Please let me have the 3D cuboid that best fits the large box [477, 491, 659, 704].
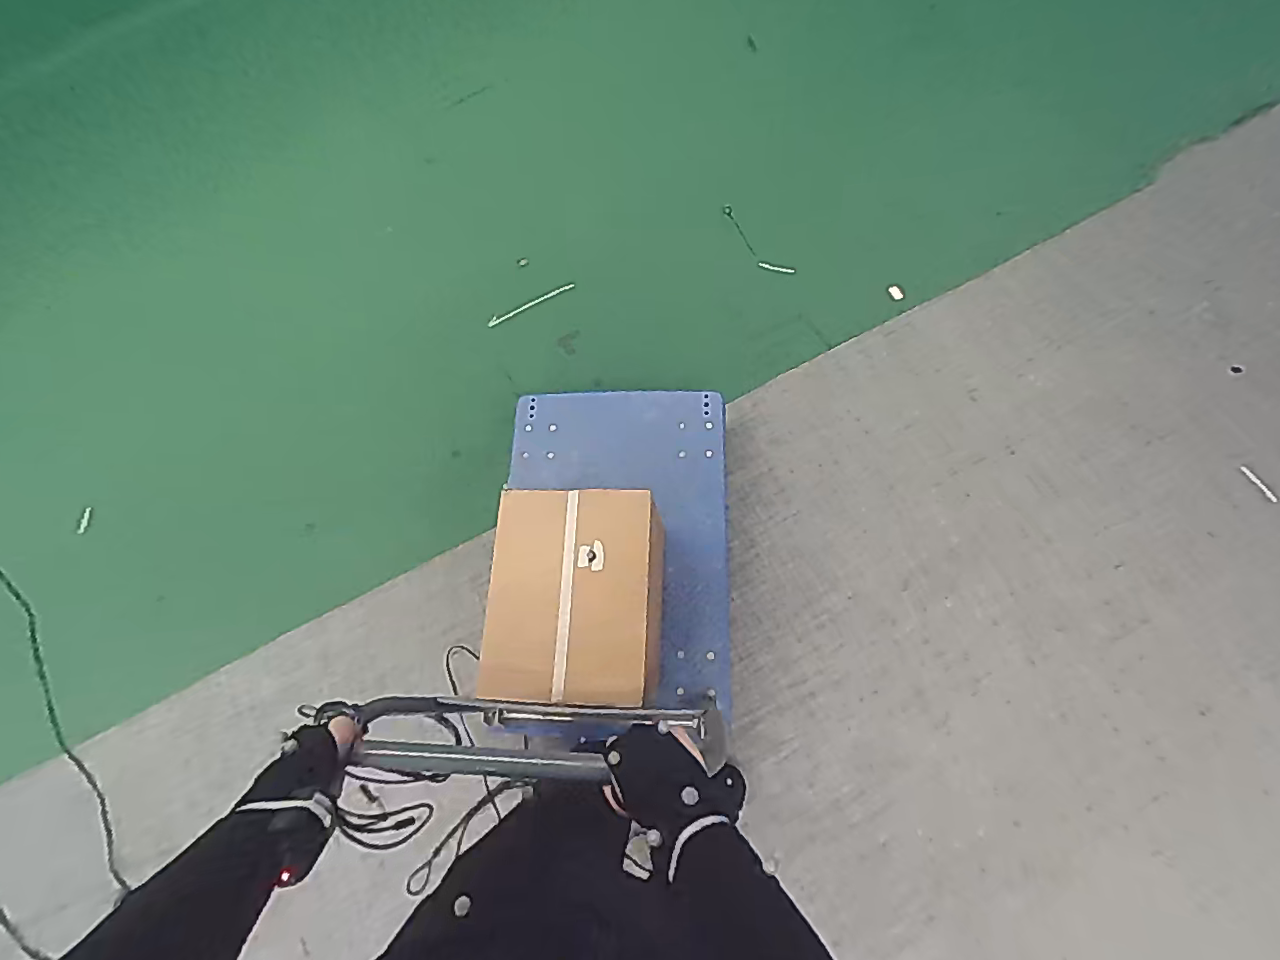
[{"bbox_3d":[-0.126,0.260,1.174,0.320,0.320,0.408,1,71,7],"label":"large box"}]
